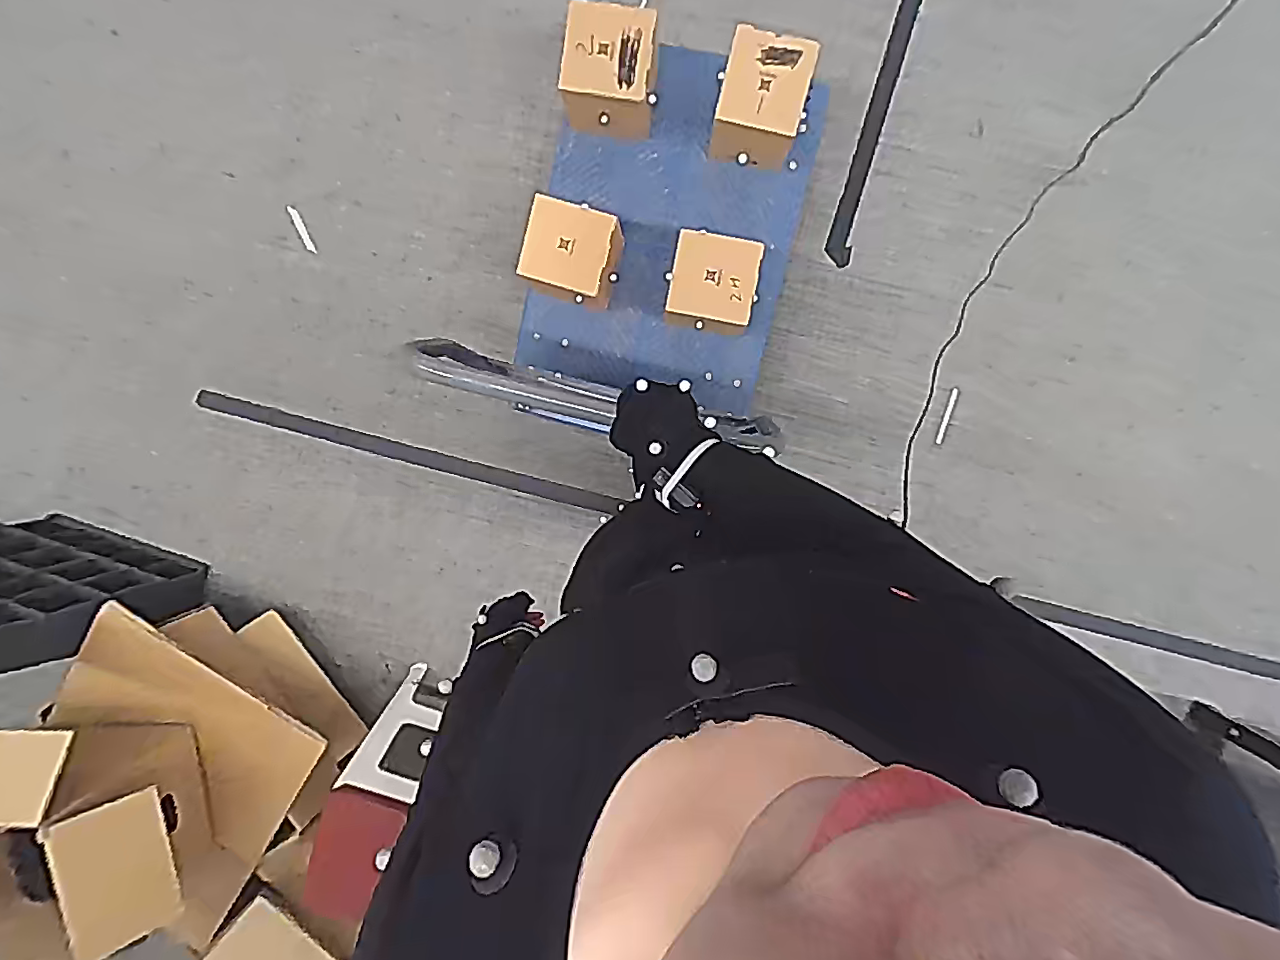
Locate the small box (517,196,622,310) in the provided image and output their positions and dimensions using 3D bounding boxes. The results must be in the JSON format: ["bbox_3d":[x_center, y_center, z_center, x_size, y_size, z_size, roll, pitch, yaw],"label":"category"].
[{"bbox_3d":[-0.147,-0.486,1.185,0.179,0.176,0.168,16,97,0],"label":"small box"}]

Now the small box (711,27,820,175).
[{"bbox_3d":[0.250,-0.778,1.127,0.168,0.176,0.179,15,99,1],"label":"small box"}]

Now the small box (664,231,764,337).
[{"bbox_3d":[0.154,-0.416,1.177,0.179,0.176,0.168,12,98,2],"label":"small box"}]
